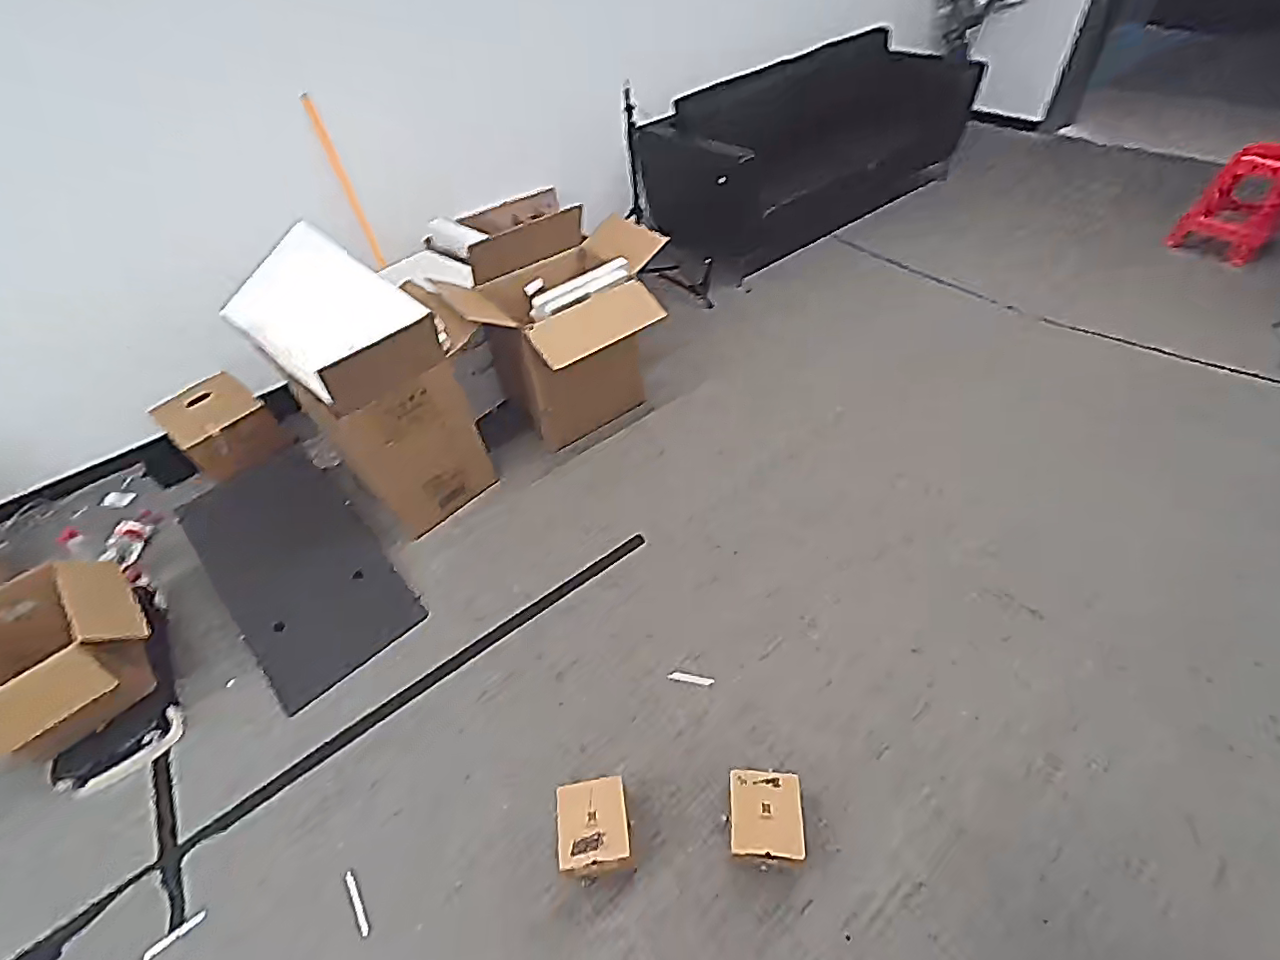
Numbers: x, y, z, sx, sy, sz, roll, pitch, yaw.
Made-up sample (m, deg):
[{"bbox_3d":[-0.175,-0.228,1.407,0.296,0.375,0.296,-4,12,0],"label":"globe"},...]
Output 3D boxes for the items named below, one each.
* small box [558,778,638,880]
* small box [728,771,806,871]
[{"bbox_3d":[-0.102,0.863,1.331,0.168,0.176,0.179,-9,46,-2],"label":"small box"},{"bbox_3d":[0.302,0.831,1.313,0.168,0.176,0.179,2,49,7],"label":"small box"}]
